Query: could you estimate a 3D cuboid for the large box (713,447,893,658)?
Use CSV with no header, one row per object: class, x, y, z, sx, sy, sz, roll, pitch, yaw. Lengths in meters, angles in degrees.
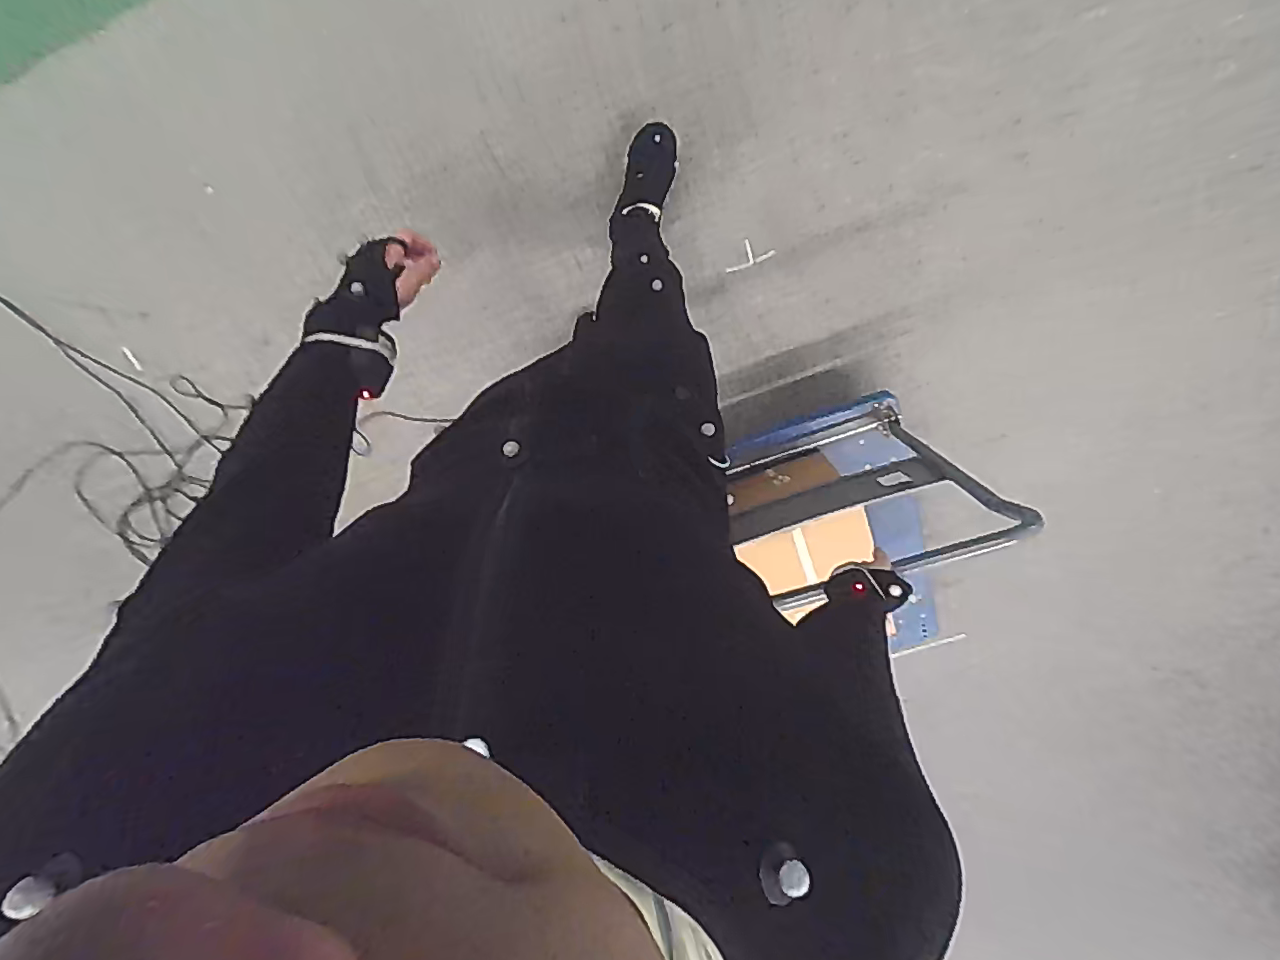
large box,0.420,0.184,1.436,0.320,0.320,0.408,-20,115,10
